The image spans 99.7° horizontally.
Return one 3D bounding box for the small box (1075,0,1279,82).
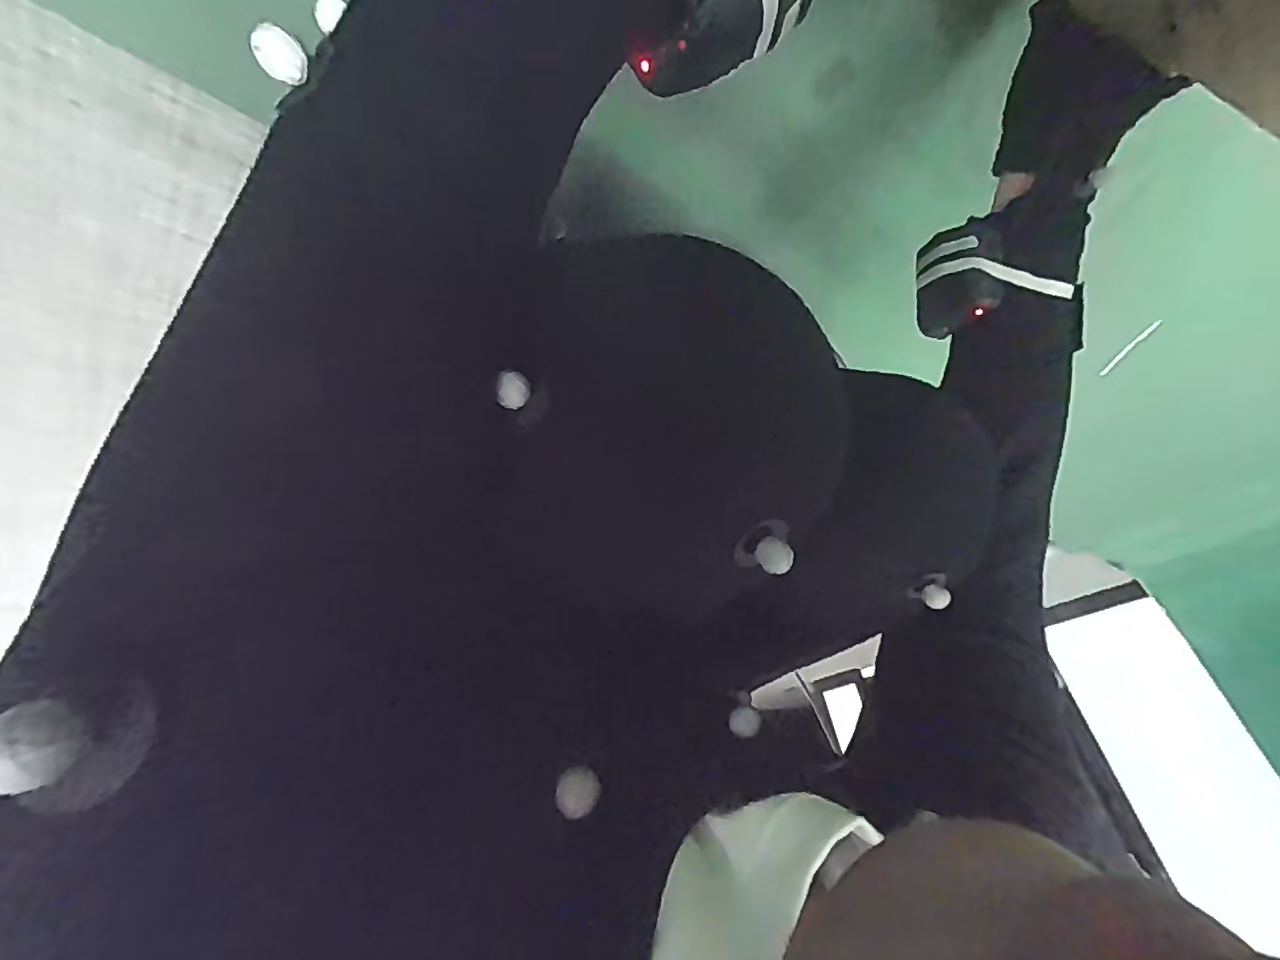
[{"bbox_3d":[0.274,-0.342,0.233,0.168,0.176,0.179,18,140,-39],"label":"small box"}]
